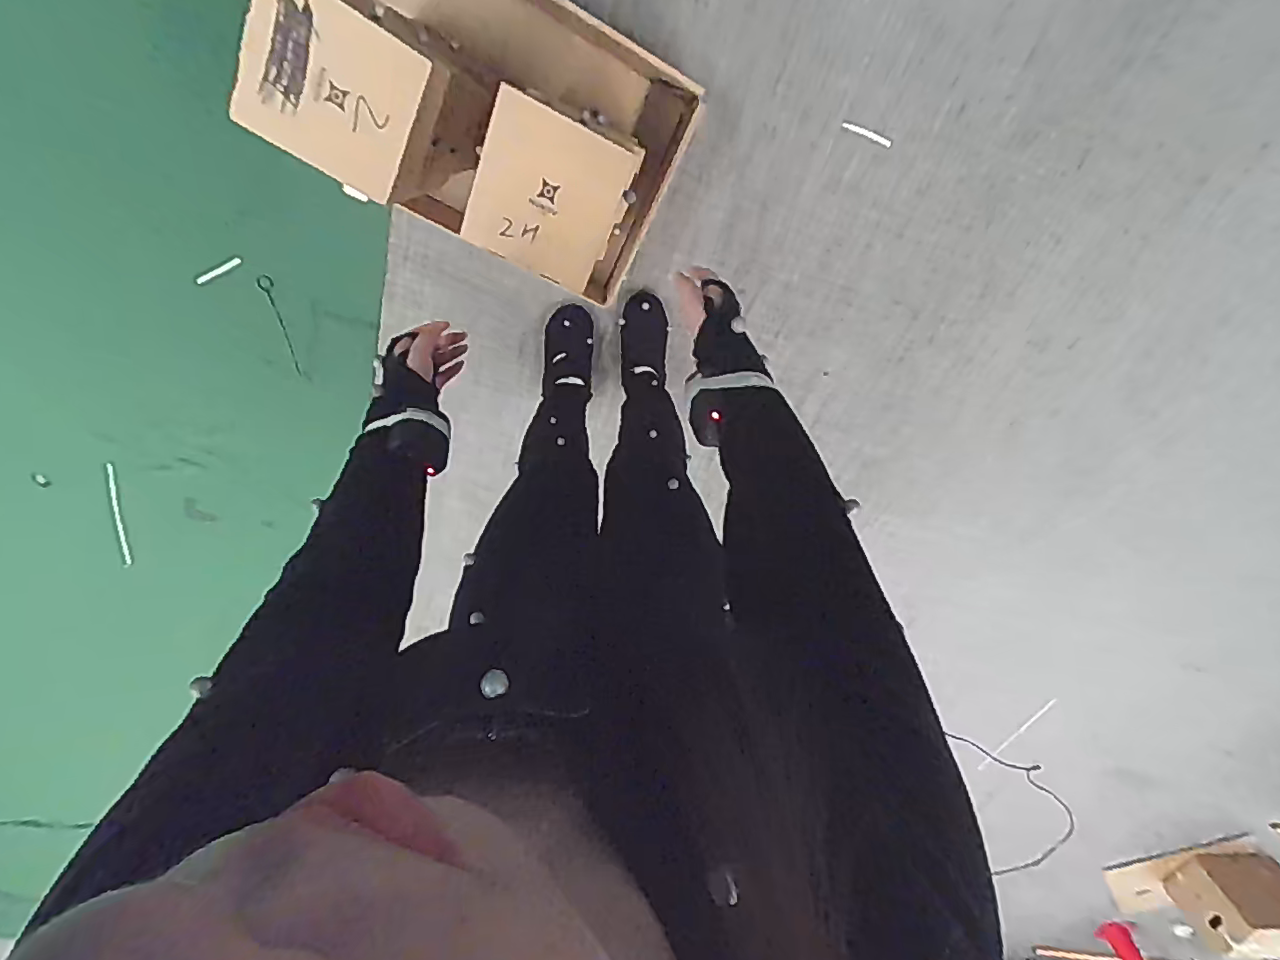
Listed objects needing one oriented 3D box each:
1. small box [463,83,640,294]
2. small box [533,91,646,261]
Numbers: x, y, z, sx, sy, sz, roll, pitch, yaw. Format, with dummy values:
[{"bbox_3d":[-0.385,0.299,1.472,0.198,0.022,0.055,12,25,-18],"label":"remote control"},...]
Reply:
[{"bbox_3d":[-0.112,-0.381,0.714,0.168,0.176,0.179,22,120,-13],"label":"small box"},{"bbox_3d":[-0.101,-0.475,0.849,0.179,0.176,0.168,22,120,-12],"label":"small box"}]
